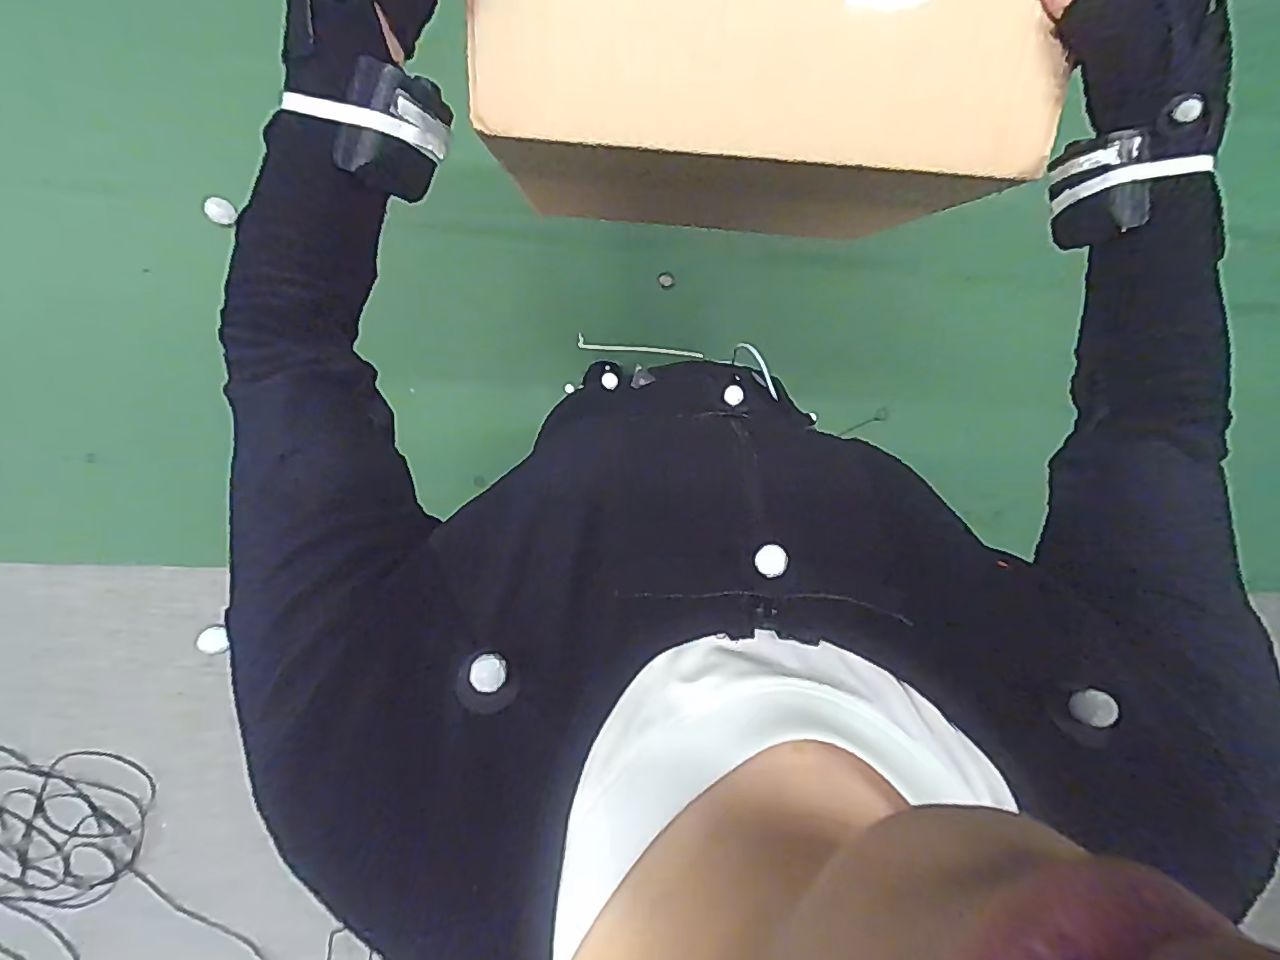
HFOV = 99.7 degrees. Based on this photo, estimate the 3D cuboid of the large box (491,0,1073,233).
[{"bbox_3d":[0.092,-0.423,0.489,0.408,0.320,0.320,2,107,-4],"label":"large box"}]
